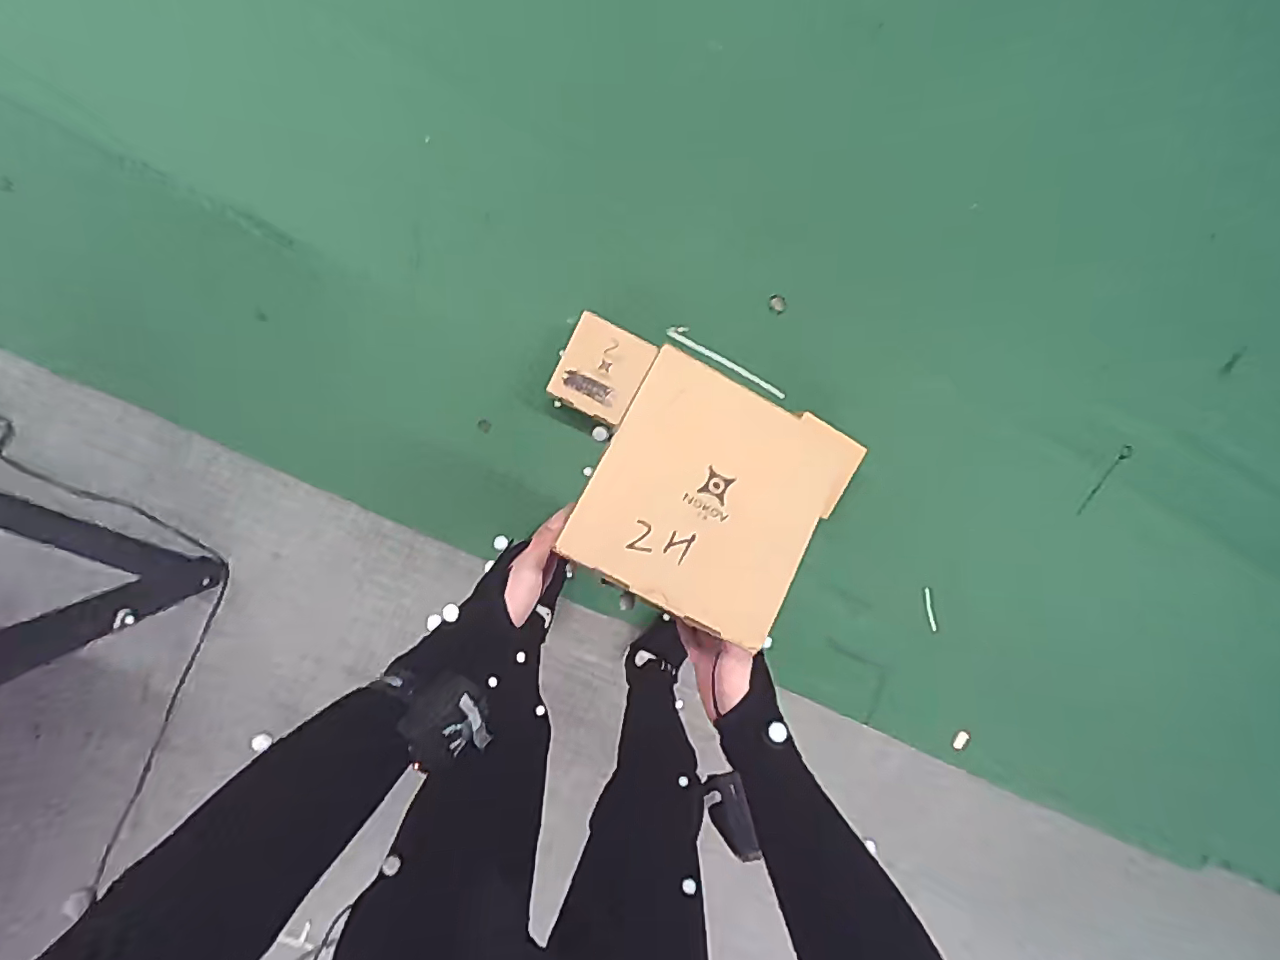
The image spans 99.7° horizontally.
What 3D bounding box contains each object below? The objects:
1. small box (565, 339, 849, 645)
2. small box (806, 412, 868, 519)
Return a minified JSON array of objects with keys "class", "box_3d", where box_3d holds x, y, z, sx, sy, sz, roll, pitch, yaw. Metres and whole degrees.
[{"class":"small box","box_3d":[0.041,0.016,0.473,0.168,0.176,0.179,29,79,-4]},{"class":"small box","box_3d":[0.361,-0.038,1.208,0.168,0.176,0.179,29,92,-10]}]
